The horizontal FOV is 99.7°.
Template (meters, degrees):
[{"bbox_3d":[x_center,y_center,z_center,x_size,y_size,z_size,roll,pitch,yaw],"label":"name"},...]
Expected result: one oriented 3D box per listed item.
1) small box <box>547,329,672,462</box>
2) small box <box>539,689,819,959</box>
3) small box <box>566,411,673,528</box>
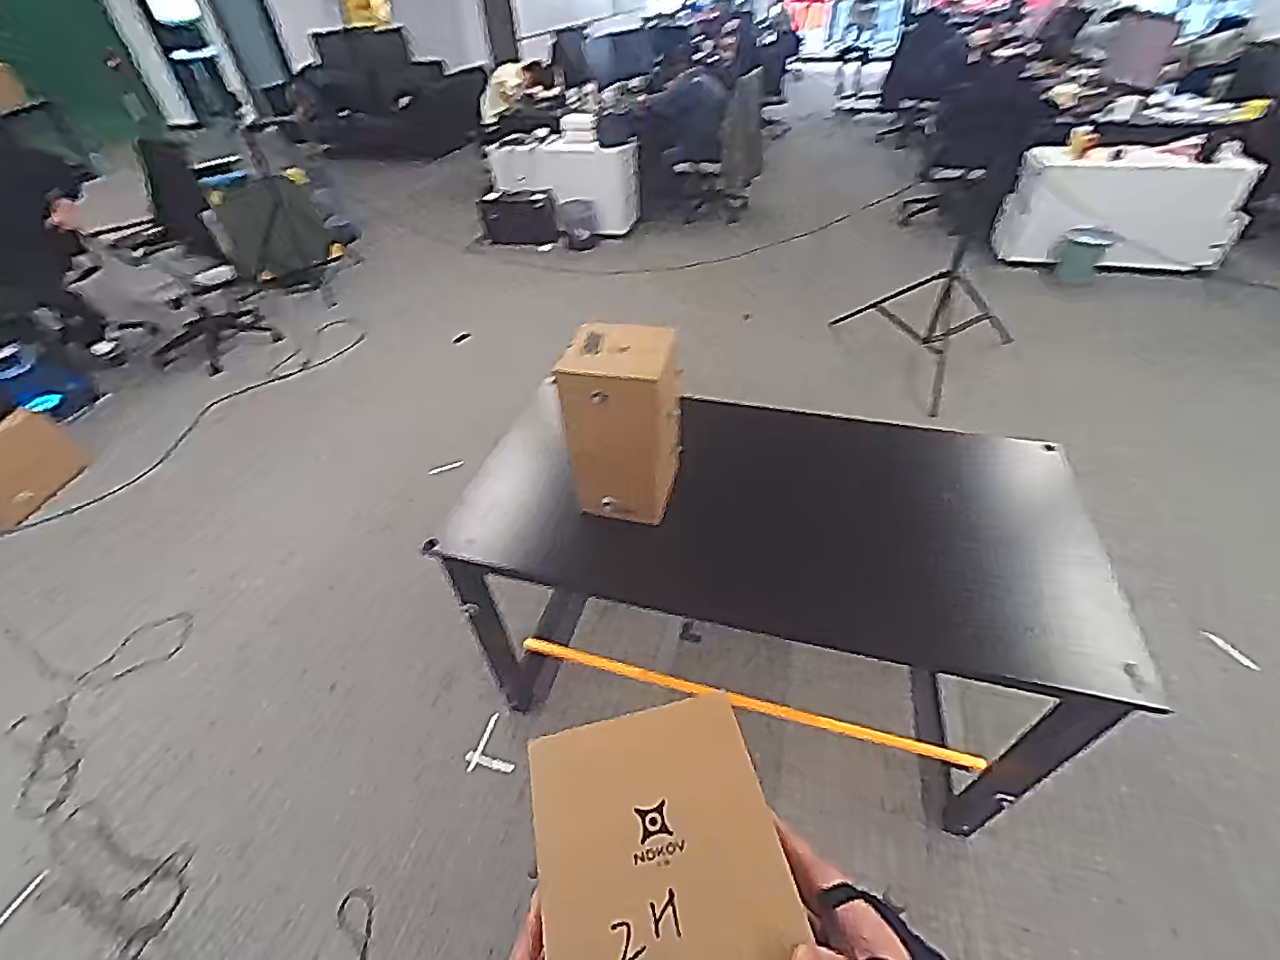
[{"bbox_3d":[-0.044,-0.149,0.955,0.179,0.176,0.168,7,44,11],"label":"small box"},{"bbox_3d":[0.019,0.303,0.435,0.168,0.176,0.179,-12,44,-6],"label":"small box"},{"bbox_3d":[-0.032,-0.032,1.071,0.168,0.176,0.179,7,45,13],"label":"small box"}]
